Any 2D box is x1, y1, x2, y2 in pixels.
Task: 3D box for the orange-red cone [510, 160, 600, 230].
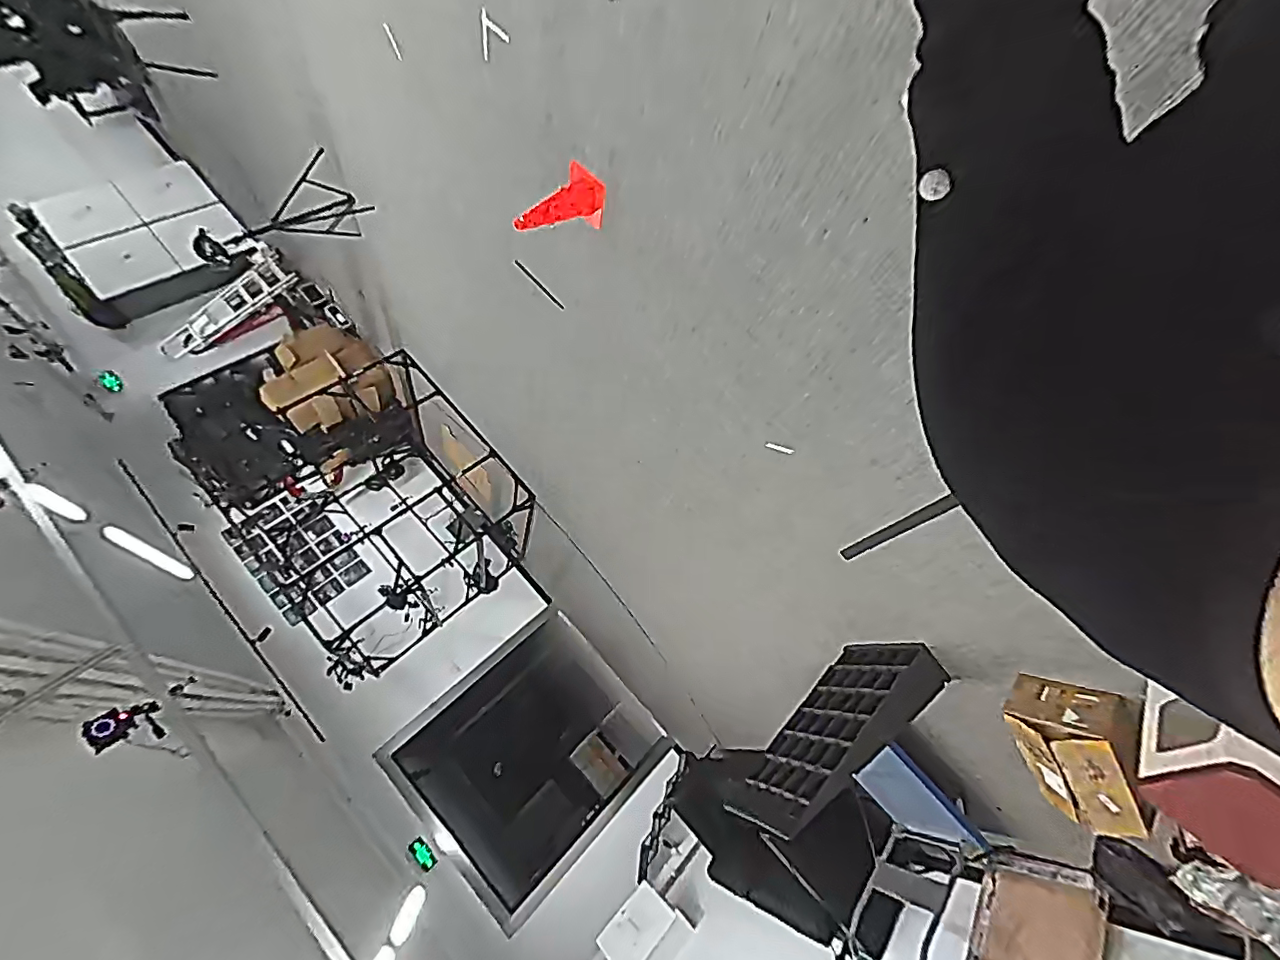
[{"bbox_3d":[-0.353,-1.055,2.100,0.199,0.360,0.198,44,153,12],"label":"orange-red cone"}]
